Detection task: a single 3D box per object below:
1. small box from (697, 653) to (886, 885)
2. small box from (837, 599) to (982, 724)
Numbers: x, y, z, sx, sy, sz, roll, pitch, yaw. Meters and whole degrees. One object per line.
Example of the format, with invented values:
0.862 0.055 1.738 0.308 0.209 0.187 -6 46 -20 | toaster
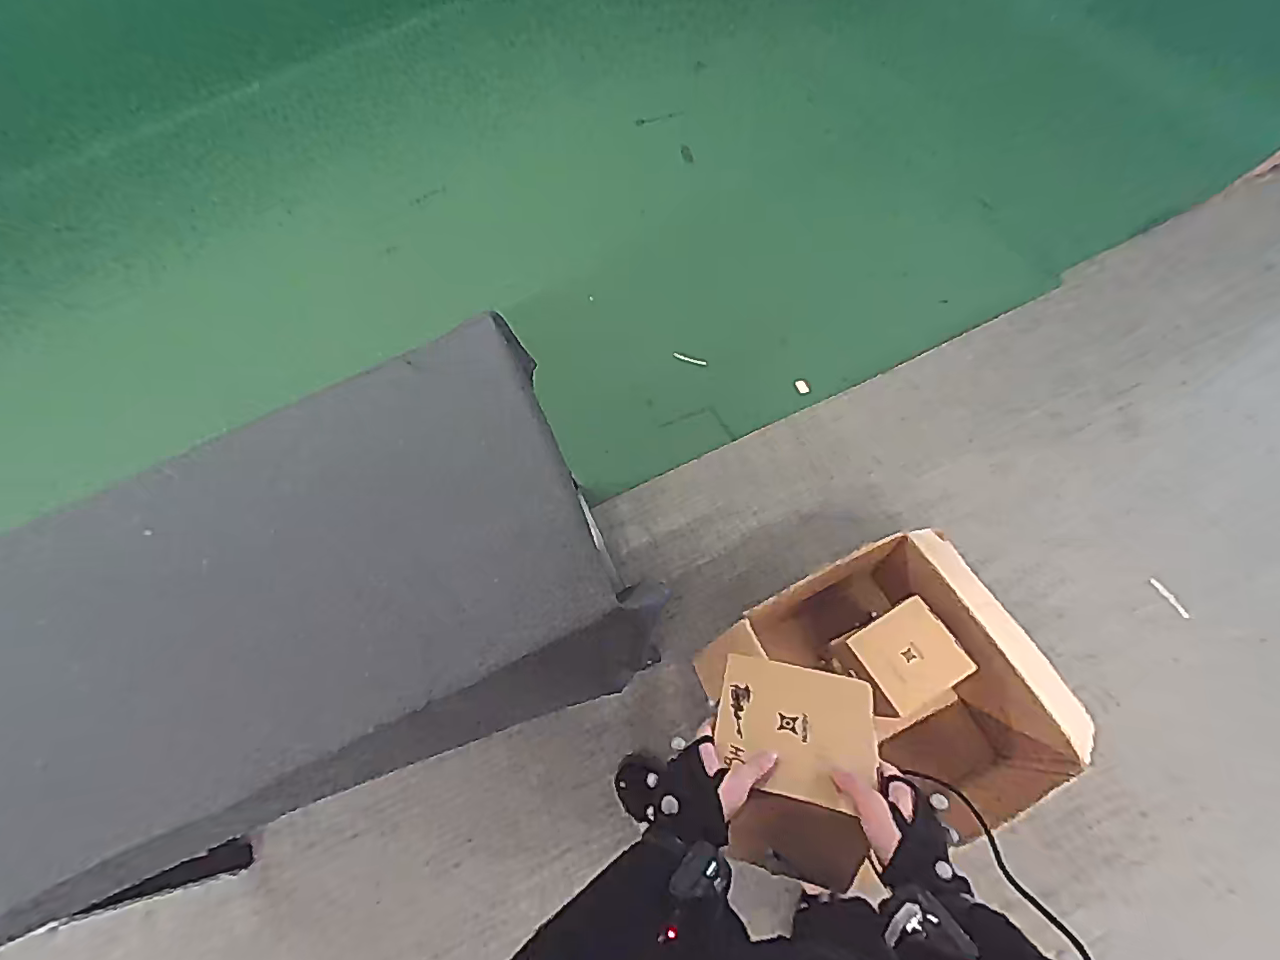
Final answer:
0.173 0.343 0.646 0.179 0.176 0.168 10 34 12 | small box
0.524 0.364 1.085 0.179 0.176 0.168 -31 66 -5 | small box
